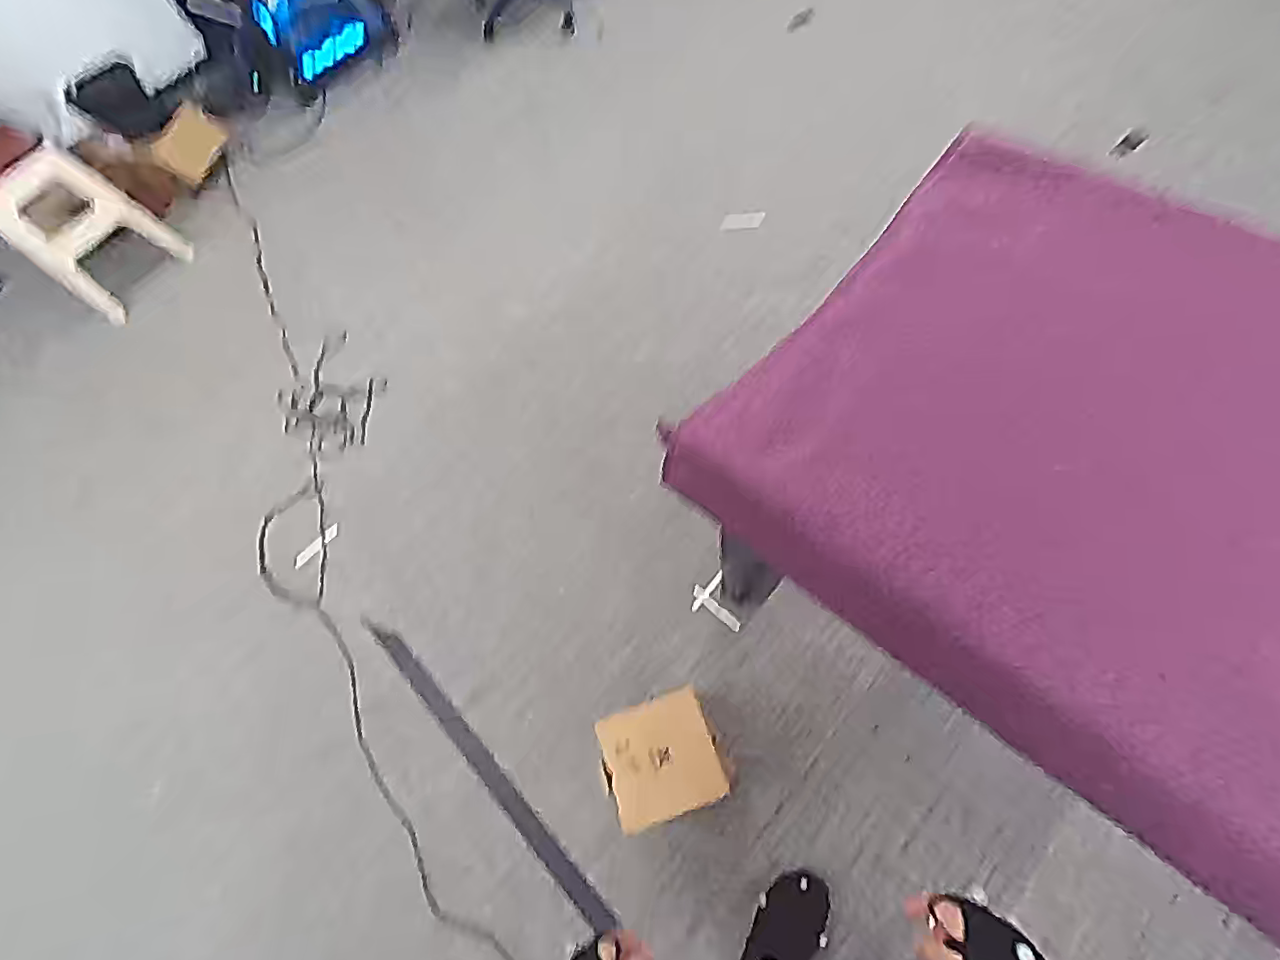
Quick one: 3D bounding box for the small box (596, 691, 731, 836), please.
[{"bbox_3d":[0.043,0.476,0.928,0.179,0.176,0.168,-21,64,0],"label":"small box"}]
